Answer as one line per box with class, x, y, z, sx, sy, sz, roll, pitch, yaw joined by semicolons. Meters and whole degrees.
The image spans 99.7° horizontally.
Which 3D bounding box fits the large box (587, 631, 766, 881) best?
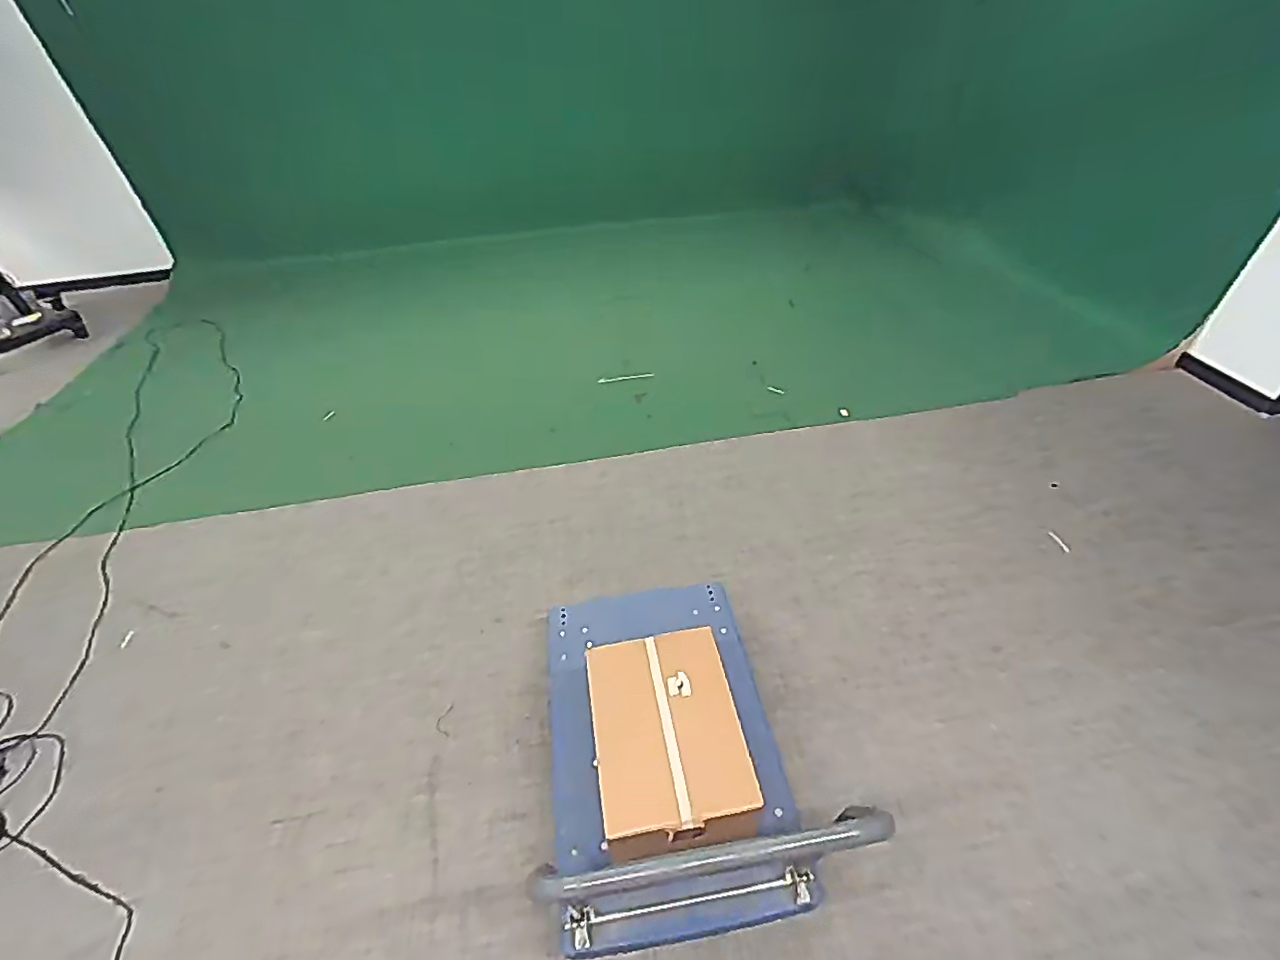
large box;0.069;0.634;1.266;0.320;0.320;0.408;-9;42;-6
